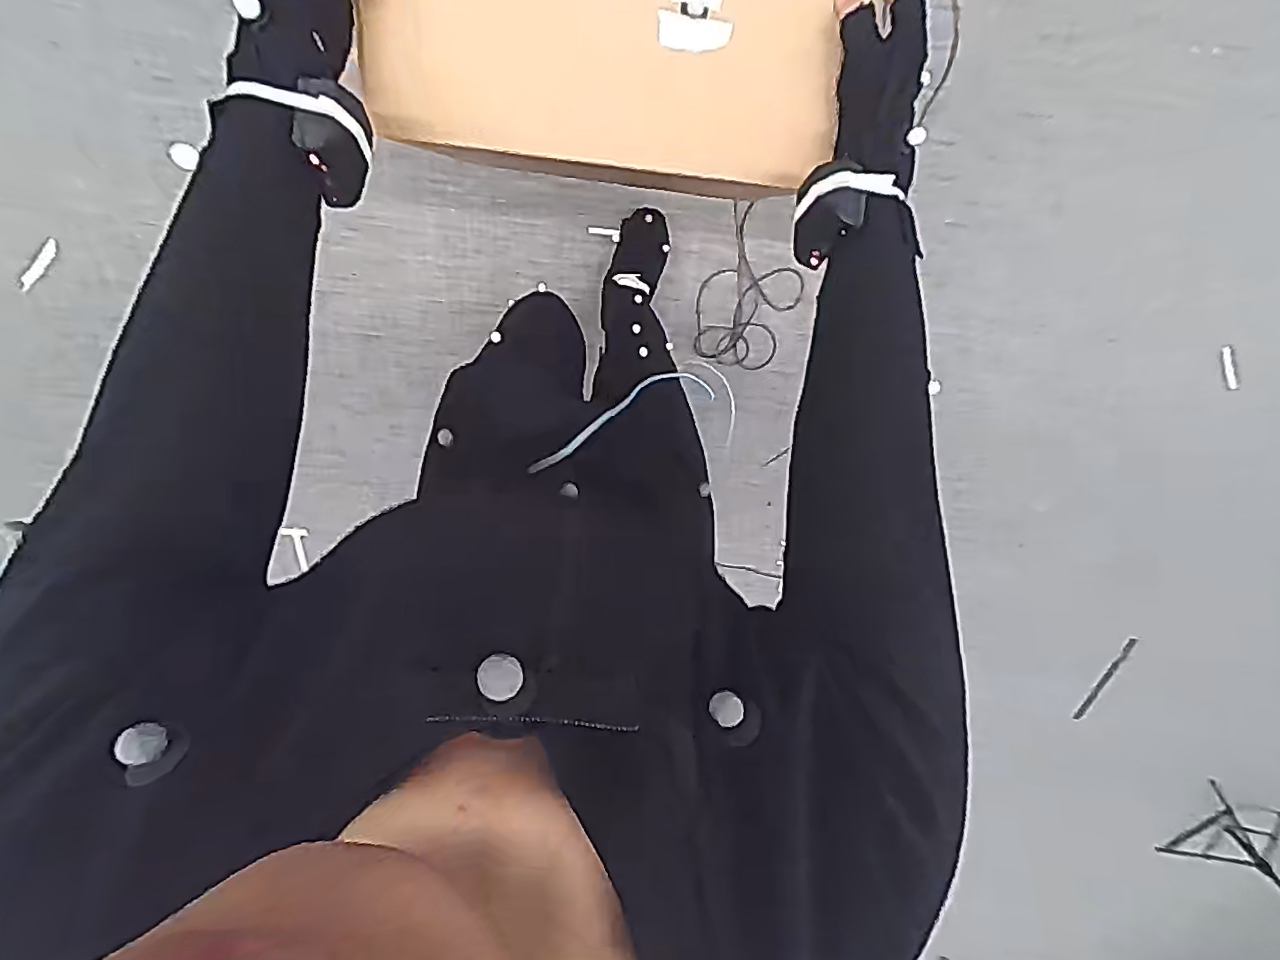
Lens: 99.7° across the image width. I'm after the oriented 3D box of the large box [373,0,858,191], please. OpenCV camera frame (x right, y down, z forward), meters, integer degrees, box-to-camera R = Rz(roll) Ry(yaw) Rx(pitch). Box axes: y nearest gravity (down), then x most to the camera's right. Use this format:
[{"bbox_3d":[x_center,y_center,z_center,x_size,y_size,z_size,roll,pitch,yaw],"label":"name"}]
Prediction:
[{"bbox_3d":[-0.019,-0.498,0.558,0.408,0.320,0.320,5,116,-4],"label":"large box"}]
